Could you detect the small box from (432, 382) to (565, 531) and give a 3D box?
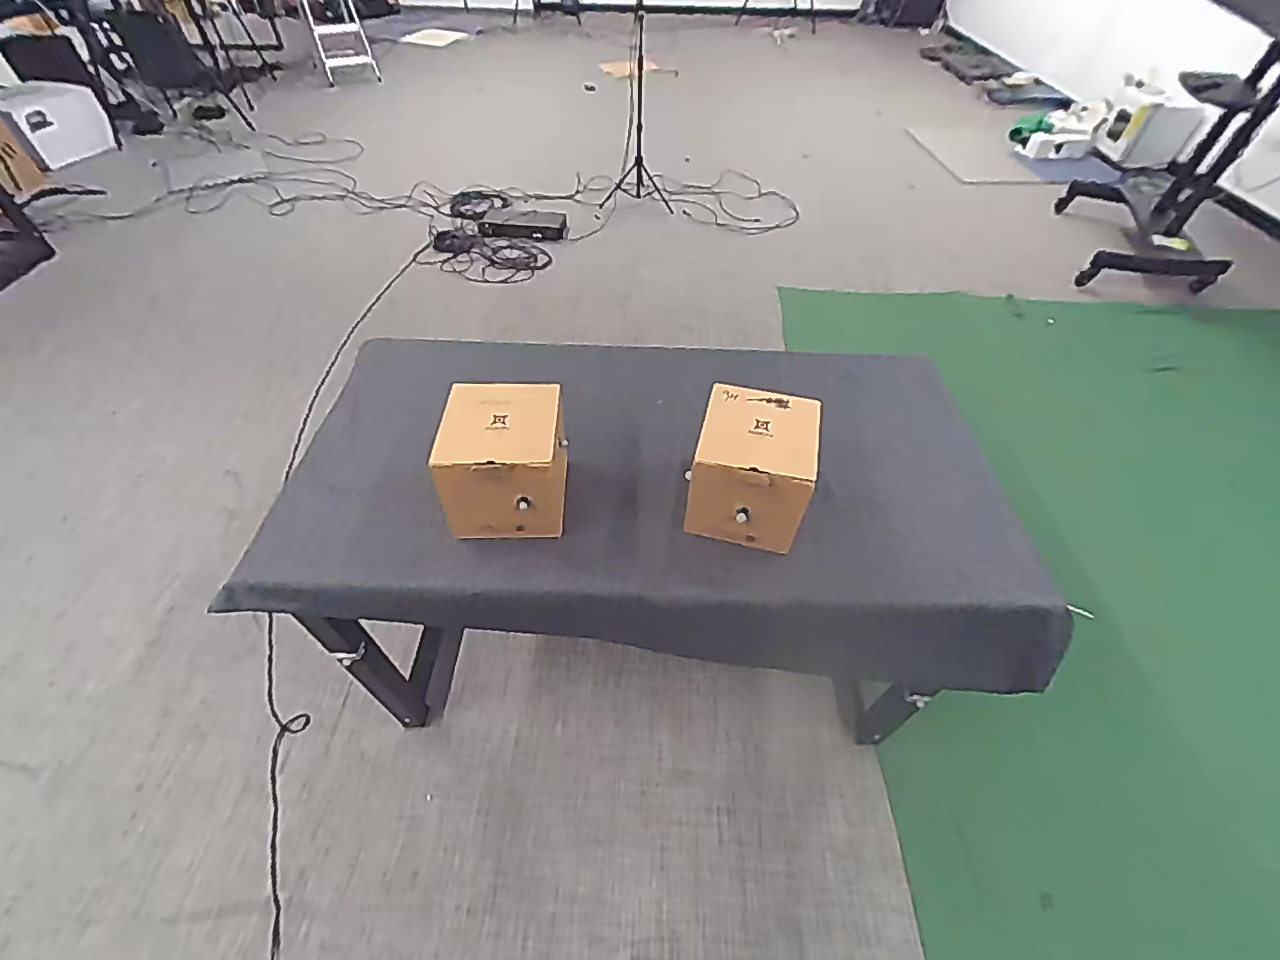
[{"bbox_3d":[-0.206,-0.033,0.843,0.168,0.176,0.179,0,46,-4],"label":"small box"}]

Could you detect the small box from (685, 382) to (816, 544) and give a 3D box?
[{"bbox_3d":[0.168,-0.024,0.846,0.168,0.176,0.179,12,50,8],"label":"small box"}]
